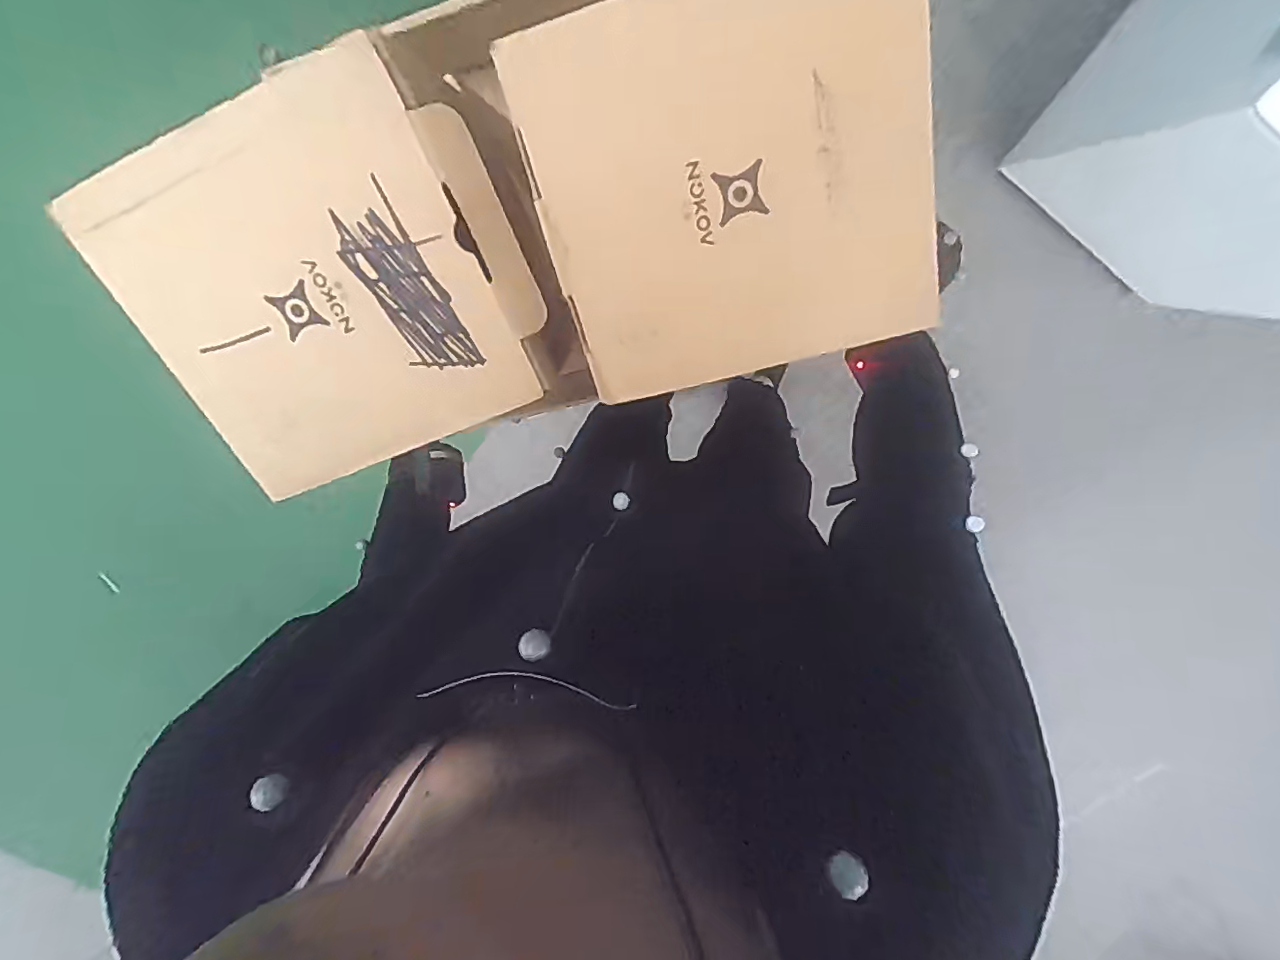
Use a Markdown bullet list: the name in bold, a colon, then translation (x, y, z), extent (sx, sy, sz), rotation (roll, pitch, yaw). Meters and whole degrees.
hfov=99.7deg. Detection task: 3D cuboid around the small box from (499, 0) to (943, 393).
- **small box**: translation (0.048, -0.167, 0.312), extent (0.179, 0.176, 0.168), rotation (-12, 116, 9)
